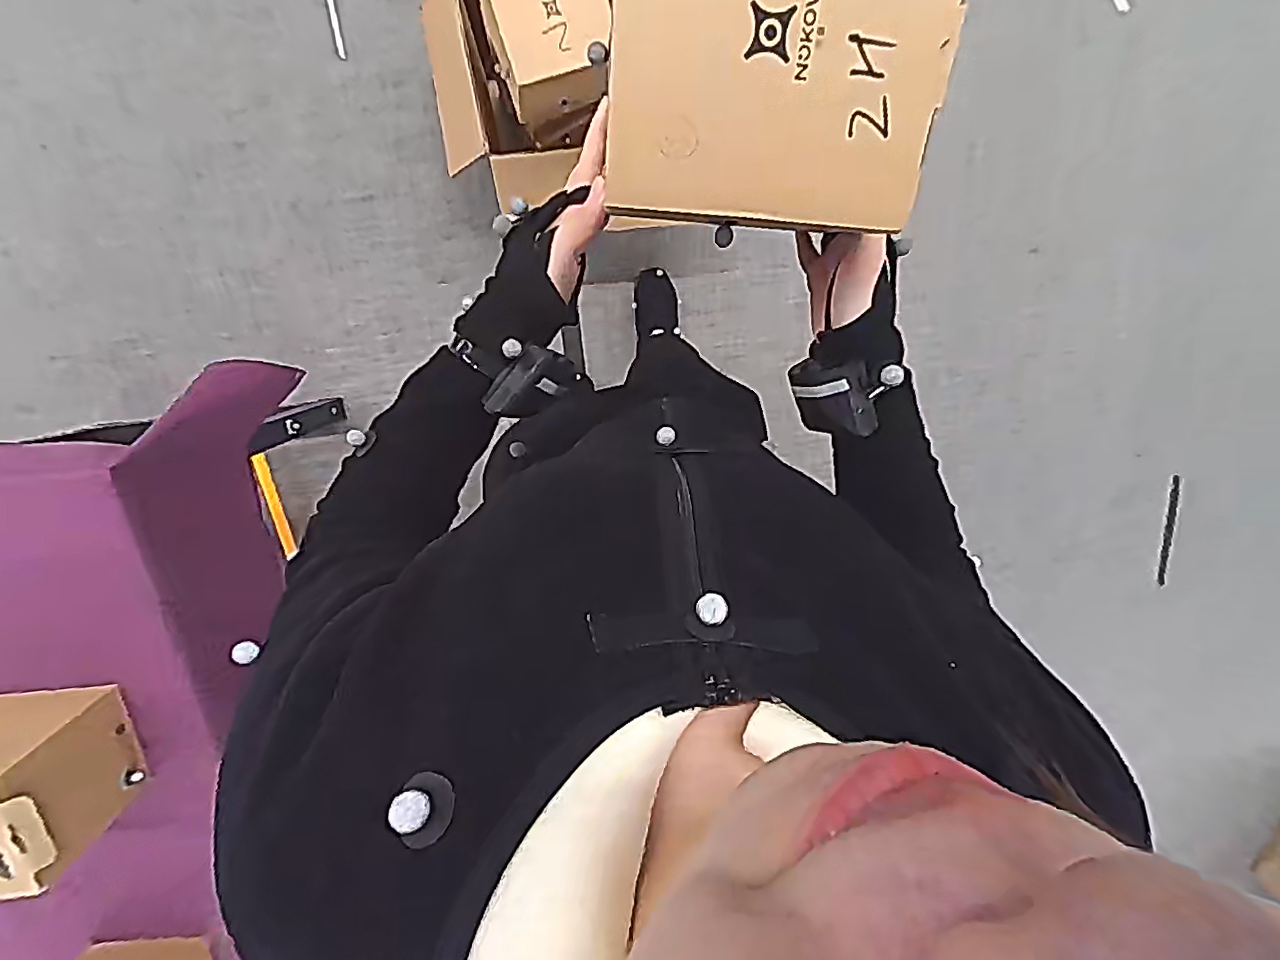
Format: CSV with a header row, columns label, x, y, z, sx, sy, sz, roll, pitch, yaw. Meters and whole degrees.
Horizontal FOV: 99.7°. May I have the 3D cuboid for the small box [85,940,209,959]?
label,x,y,z,sx,sy,sz,roll,pitch,yaw
small box,-0.782,0.833,0.808,0.179,0.176,0.168,4,105,-7

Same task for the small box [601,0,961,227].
label,x,y,z,sx,sy,sz,roll,pitch,yaw
small box,0.068,-0.258,0.342,0.179,0.176,0.168,3,115,-4

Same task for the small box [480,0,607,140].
label,x,y,z,sx,sy,sz,roll,pitch,yaw
small box,-0.167,-0.766,0.992,0.179,0.176,0.168,-29,109,-2

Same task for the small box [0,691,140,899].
label,x,y,z,sx,sy,sz,roll,pitch,yaw
small box,-0.788,0.387,0.678,0.179,0.176,0.168,-4,106,-4
